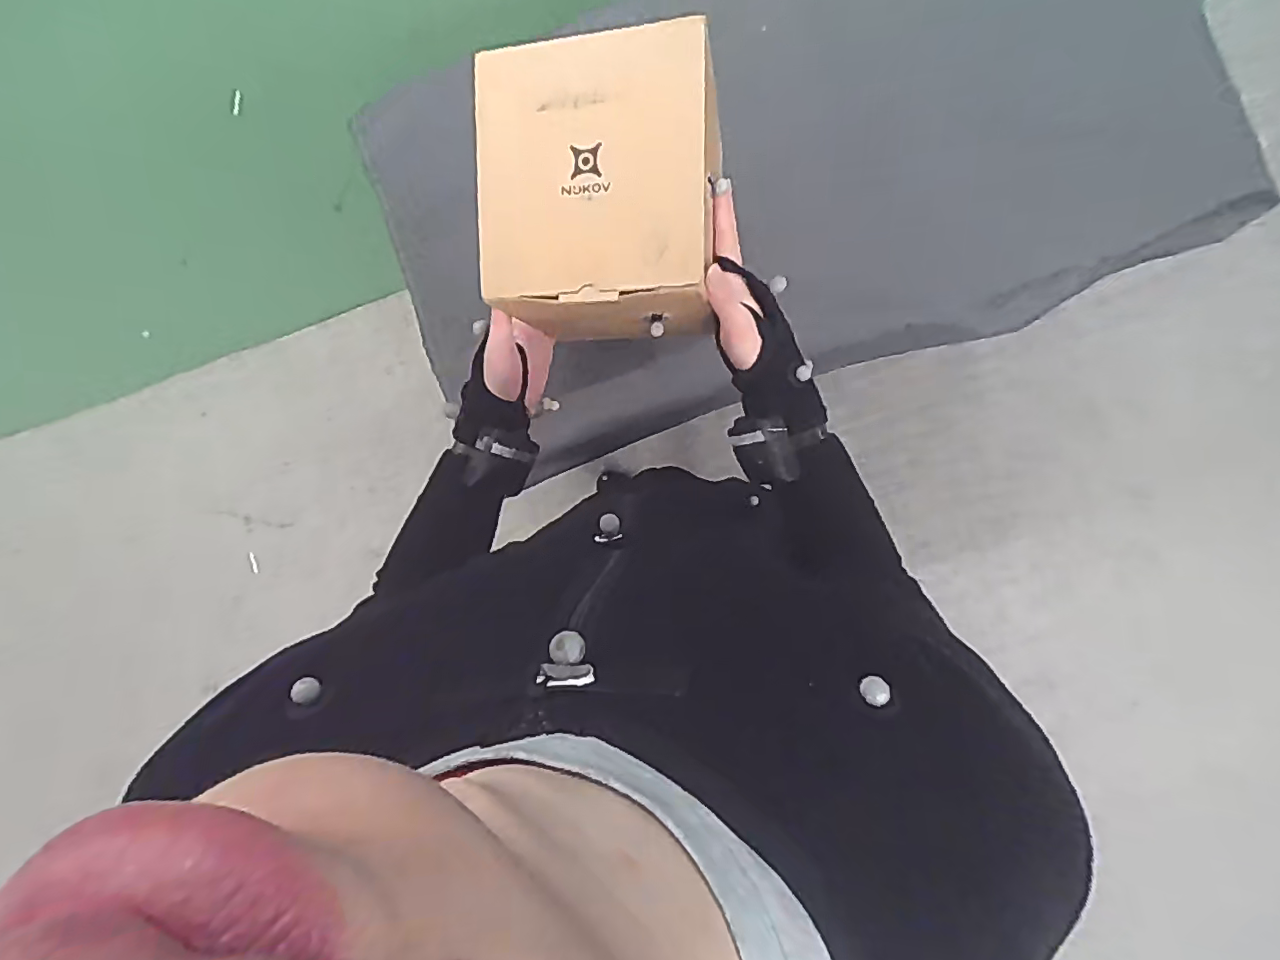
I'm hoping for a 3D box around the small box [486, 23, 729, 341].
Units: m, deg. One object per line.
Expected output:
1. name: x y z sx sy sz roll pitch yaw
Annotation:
1. small box: -0.013 -0.217 0.451 0.168 0.176 0.179 0 93 12
